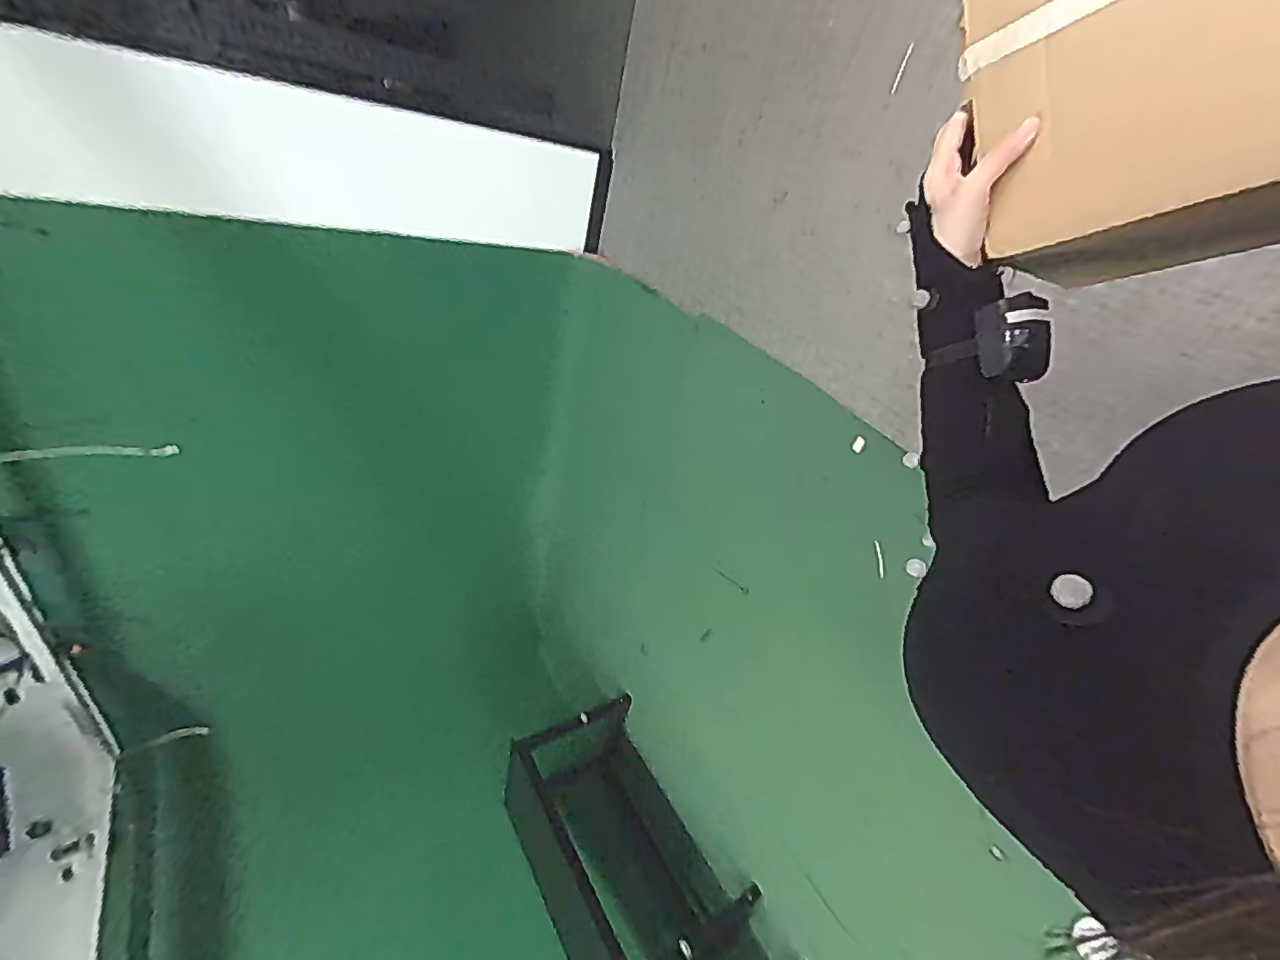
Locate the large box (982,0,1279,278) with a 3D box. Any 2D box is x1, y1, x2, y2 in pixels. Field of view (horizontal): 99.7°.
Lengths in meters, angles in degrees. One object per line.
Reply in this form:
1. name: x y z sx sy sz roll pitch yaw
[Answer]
1. large box: 0.513 -0.372 0.384 0.408 0.320 0.320 -2 98 46
